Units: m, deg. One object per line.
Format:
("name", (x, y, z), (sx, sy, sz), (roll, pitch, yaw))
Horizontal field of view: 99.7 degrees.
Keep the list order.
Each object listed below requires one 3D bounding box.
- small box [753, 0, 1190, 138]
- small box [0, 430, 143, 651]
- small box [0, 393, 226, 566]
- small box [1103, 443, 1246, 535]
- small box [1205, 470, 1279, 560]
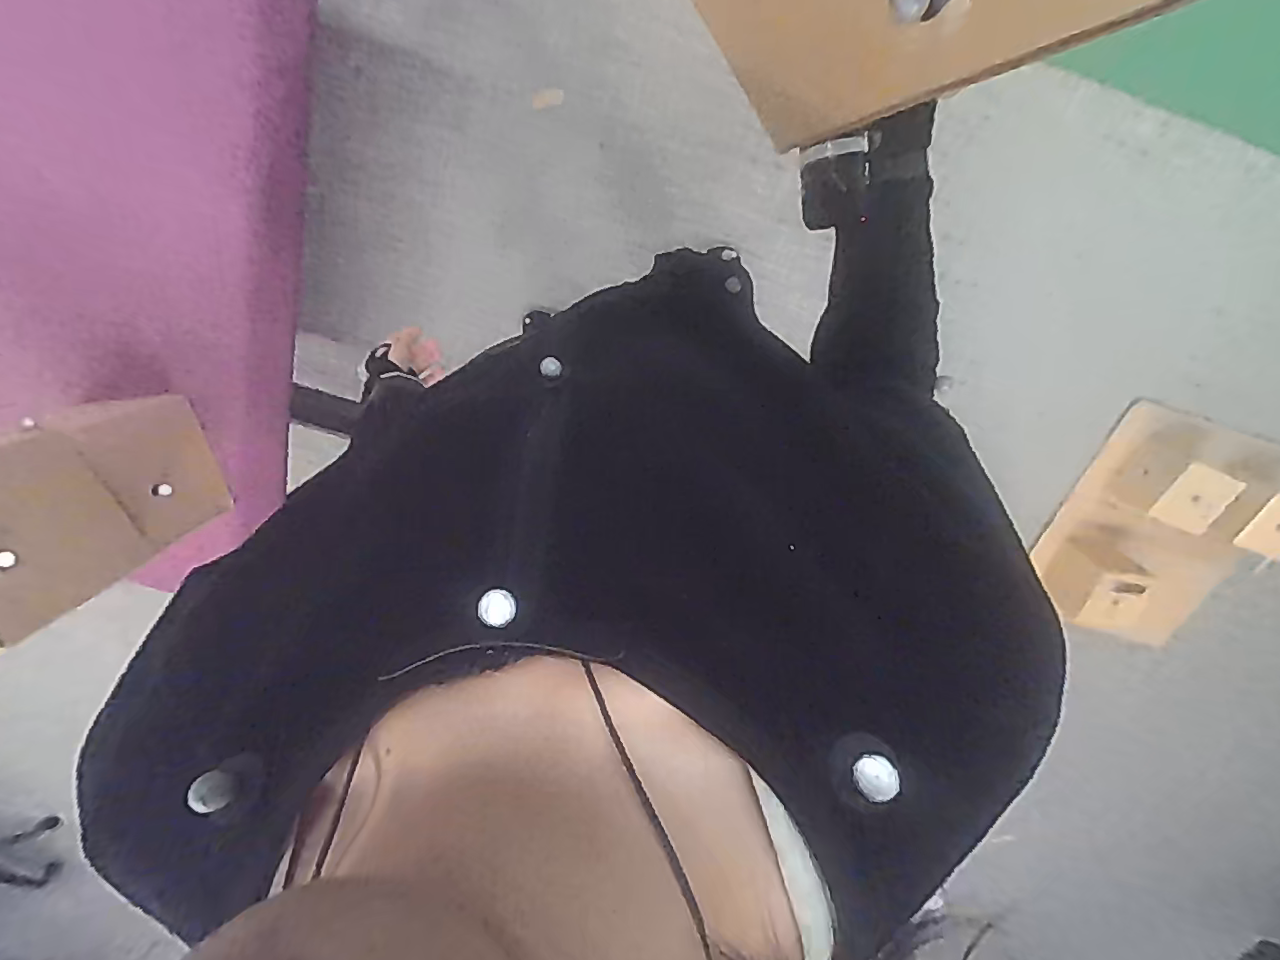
("small box", (0.119, -0.264, 0.172), (0.176, 0.179, 0.168), (40, 78, -36))
("small box", (-0.683, 0.071, 0.549), (0.168, 0.176, 0.179), (-17, 111, 8))
("small box", (-0.694, -0.001, 0.699), (0.168, 0.176, 0.179), (-5, 113, 3))
("small box", (1.421, 0.016, 1.454), (0.179, 0.176, 0.168), (21, 113, -8))
("small box", (1.674, 0.090, 1.484), (0.179, 0.176, 0.168), (17, 113, -7))
